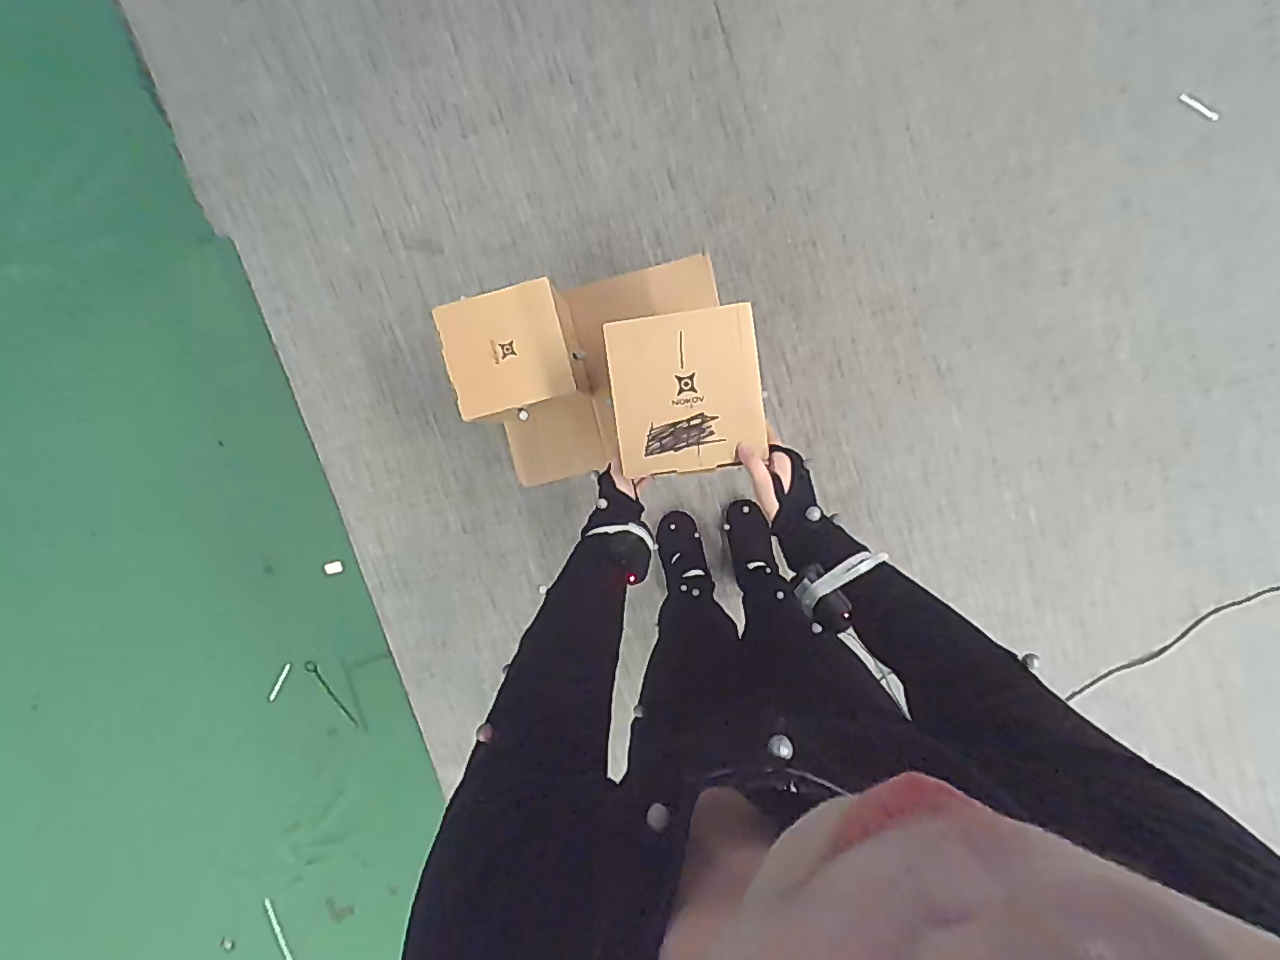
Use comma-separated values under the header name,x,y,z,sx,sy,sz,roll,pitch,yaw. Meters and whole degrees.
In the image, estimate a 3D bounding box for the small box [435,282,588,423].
name,x,y,z,sx,sy,sz,roll,pitch,yaw
small box,-0.186,-0.188,0.848,0.179,0.176,0.168,-14,94,5

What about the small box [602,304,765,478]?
name,x,y,z,sx,sy,sz,roll,pitch,yaw
small box,0.053,-0.103,0.675,0.168,0.176,0.179,-7,93,3
